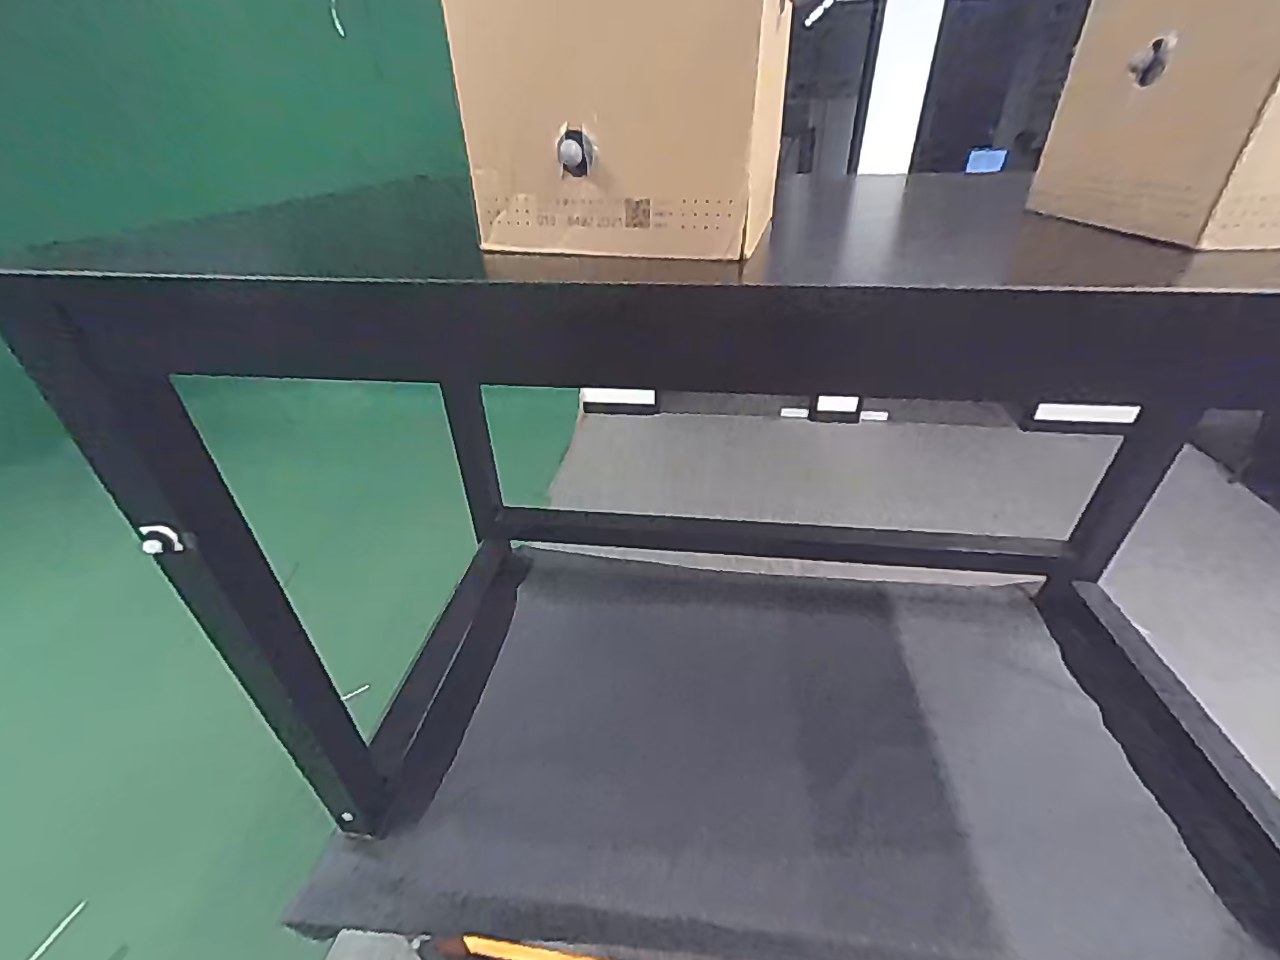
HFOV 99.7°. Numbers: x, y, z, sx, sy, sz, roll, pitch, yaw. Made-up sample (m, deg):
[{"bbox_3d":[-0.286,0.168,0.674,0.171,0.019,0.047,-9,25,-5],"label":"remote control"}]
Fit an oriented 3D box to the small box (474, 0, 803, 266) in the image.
[{"bbox_3d":[0.008,-0.247,0.347,0.168,0.176,0.179,8,35,14],"label":"small box"}]
